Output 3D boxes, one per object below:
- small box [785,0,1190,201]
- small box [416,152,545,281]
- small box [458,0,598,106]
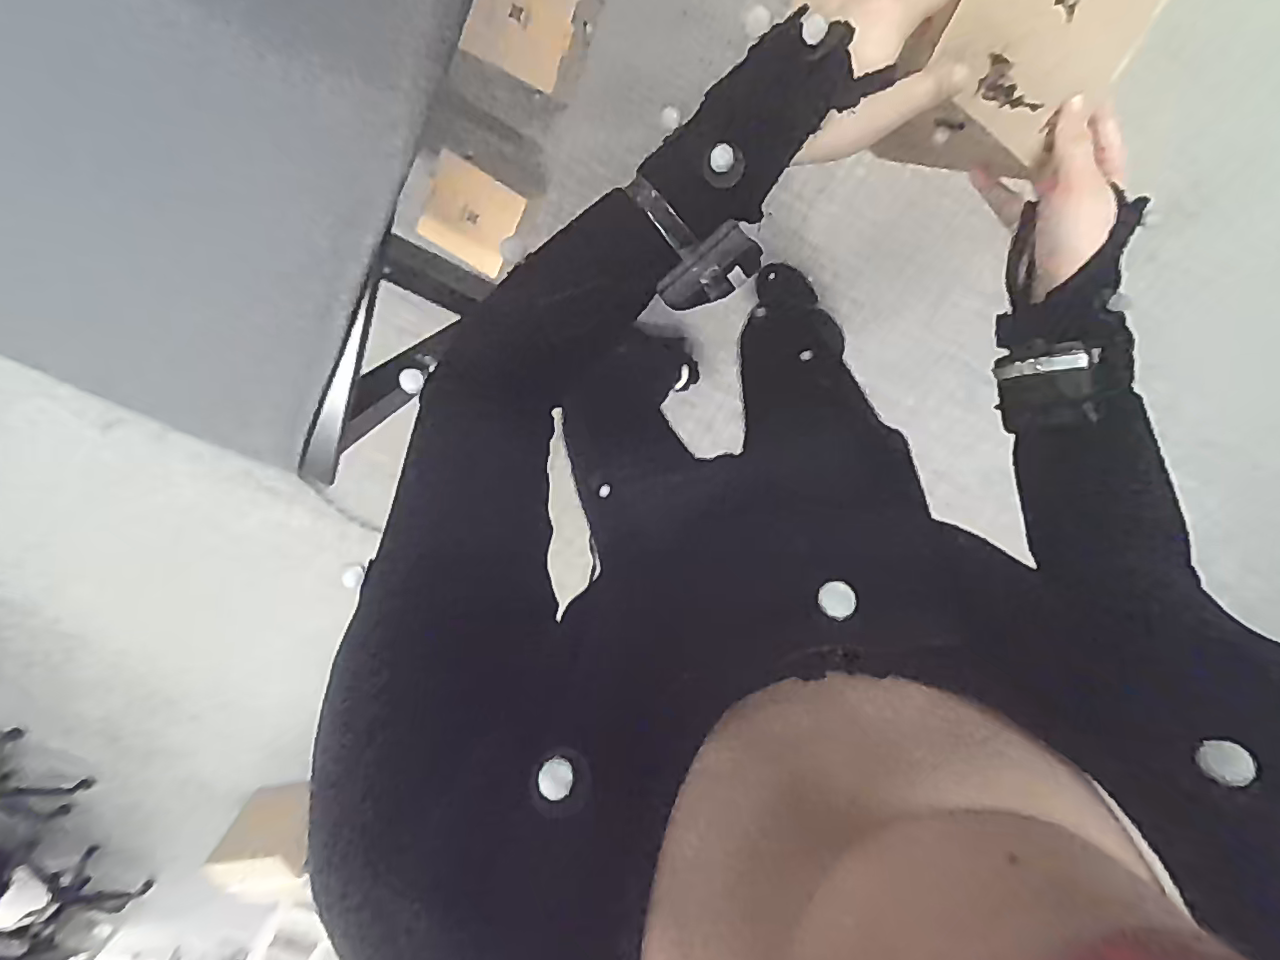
[{"bbox_3d":[0.235,-0.328,0.375,0.168,0.176,0.179,8,119,-33],"label":"small box"},{"bbox_3d":[-0.314,-0.537,1.099,0.179,0.176,0.168,29,118,-9],"label":"small box"},{"bbox_3d":[-0.187,-0.785,0.946,0.179,0.176,0.168,24,118,-6],"label":"small box"}]
